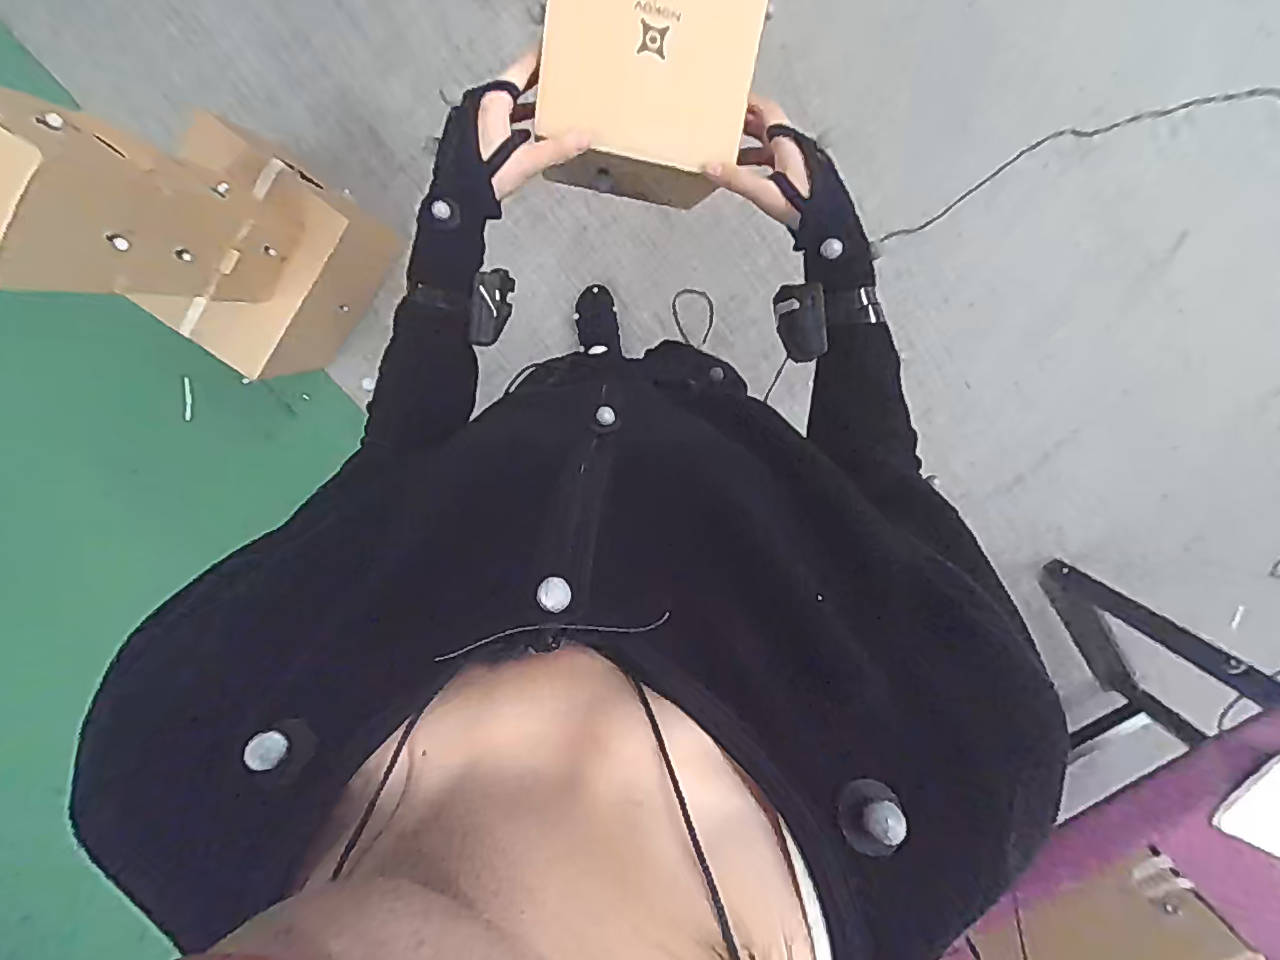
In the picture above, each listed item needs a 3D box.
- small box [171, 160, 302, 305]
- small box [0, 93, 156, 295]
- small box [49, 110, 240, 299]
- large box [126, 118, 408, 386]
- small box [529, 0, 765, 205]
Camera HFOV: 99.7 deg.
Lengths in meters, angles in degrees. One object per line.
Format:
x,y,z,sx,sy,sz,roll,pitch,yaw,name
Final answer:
-0.759,-0.436,0.970,0.179,0.176,0.168,37,101,-11,small box
-0.752,-0.348,0.653,0.168,0.176,0.179,37,100,-11,small box
-0.754,-0.394,0.811,0.168,0.176,0.179,36,102,-11,small box
-0.802,-0.479,1.210,0.320,0.320,0.408,37,103,-10,large box
0.000,-0.364,0.481,0.168,0.176,0.179,7,105,-9,small box
